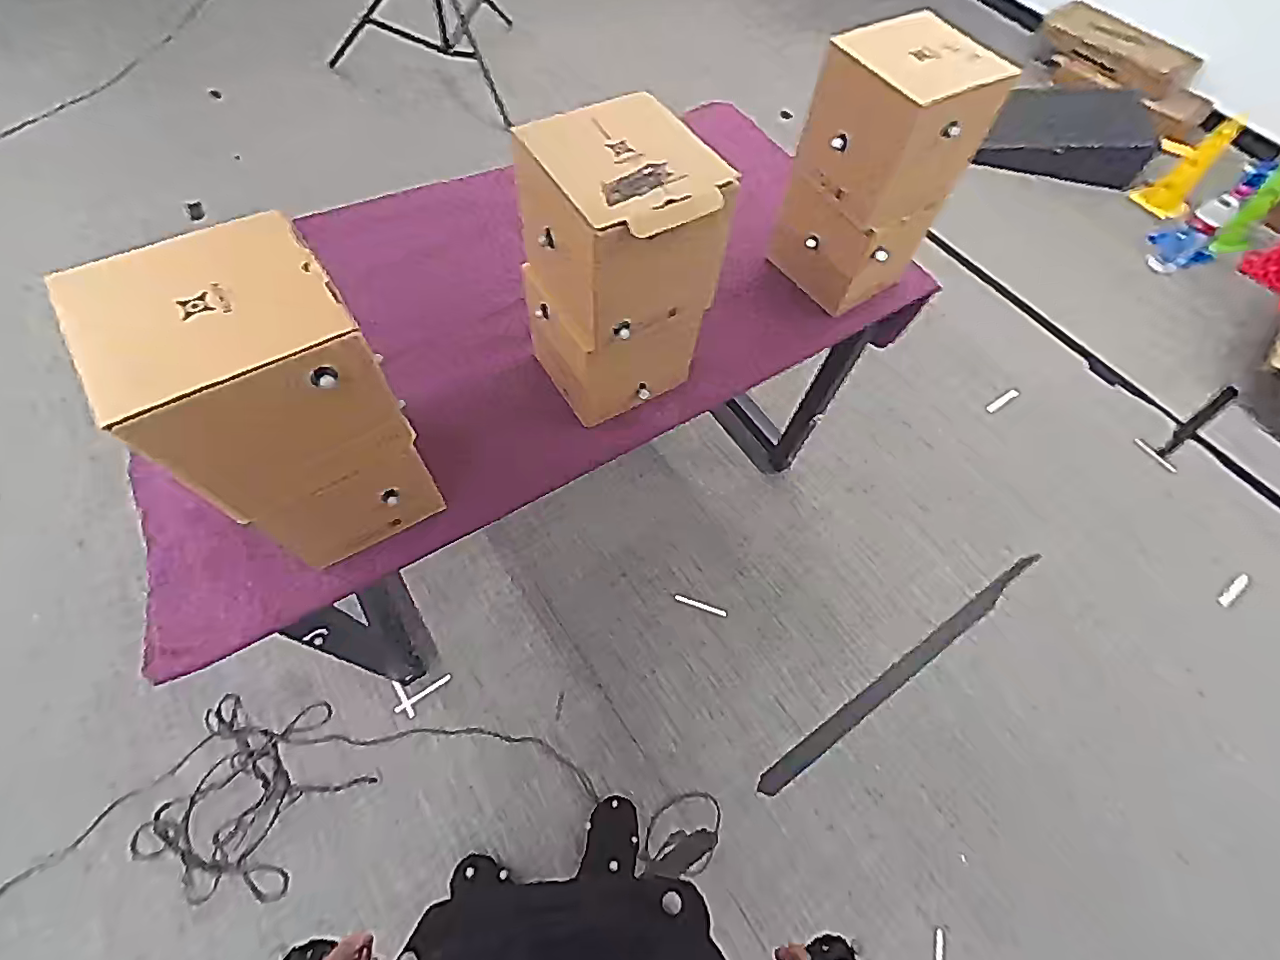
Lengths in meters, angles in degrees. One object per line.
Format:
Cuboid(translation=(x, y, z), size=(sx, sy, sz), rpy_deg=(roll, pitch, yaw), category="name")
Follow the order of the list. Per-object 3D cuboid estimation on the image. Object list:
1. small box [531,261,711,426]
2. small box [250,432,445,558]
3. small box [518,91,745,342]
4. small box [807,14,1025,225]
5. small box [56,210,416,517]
Cuboid(translation=(-0.032, -0.206, 0.746), size=(0.179, 0.176, 0.168), rpy_deg=(-28, 69, -18), category="small box")
Cuboid(translation=(-0.349, -0.028, 0.628), size=(0.168, 0.176, 0.179), rpy_deg=(-28, 67, -19), category="small box")
Cuboid(translation=(-0.014, -0.278, 0.598), size=(0.168, 0.176, 0.179), rpy_deg=(-28, 68, -17), category="small box")
Cuboid(translation=(0.351, -0.480, 0.732), size=(0.179, 0.176, 0.168), rpy_deg=(-27, 68, -17), category="small box")
Cuboid(translation=(-0.332, -0.095, 0.480), size=(0.179, 0.176, 0.168), rpy_deg=(-31, 70, -21), category="small box")
